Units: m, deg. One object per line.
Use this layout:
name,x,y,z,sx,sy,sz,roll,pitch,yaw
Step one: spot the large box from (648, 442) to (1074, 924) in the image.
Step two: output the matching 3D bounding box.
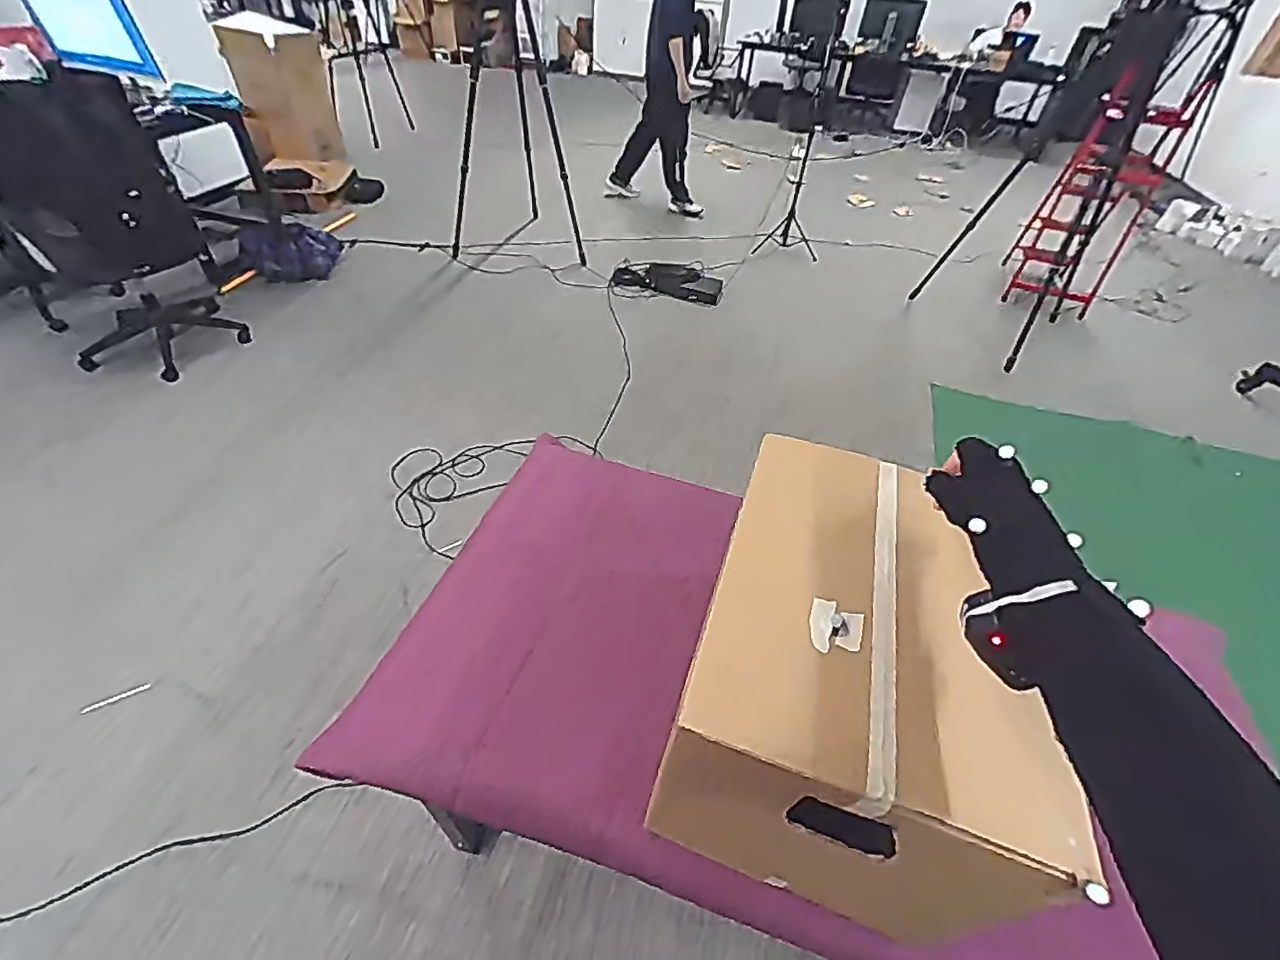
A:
large box,0.225,0.224,0.661,0.320,0.320,0.408,17,46,11
